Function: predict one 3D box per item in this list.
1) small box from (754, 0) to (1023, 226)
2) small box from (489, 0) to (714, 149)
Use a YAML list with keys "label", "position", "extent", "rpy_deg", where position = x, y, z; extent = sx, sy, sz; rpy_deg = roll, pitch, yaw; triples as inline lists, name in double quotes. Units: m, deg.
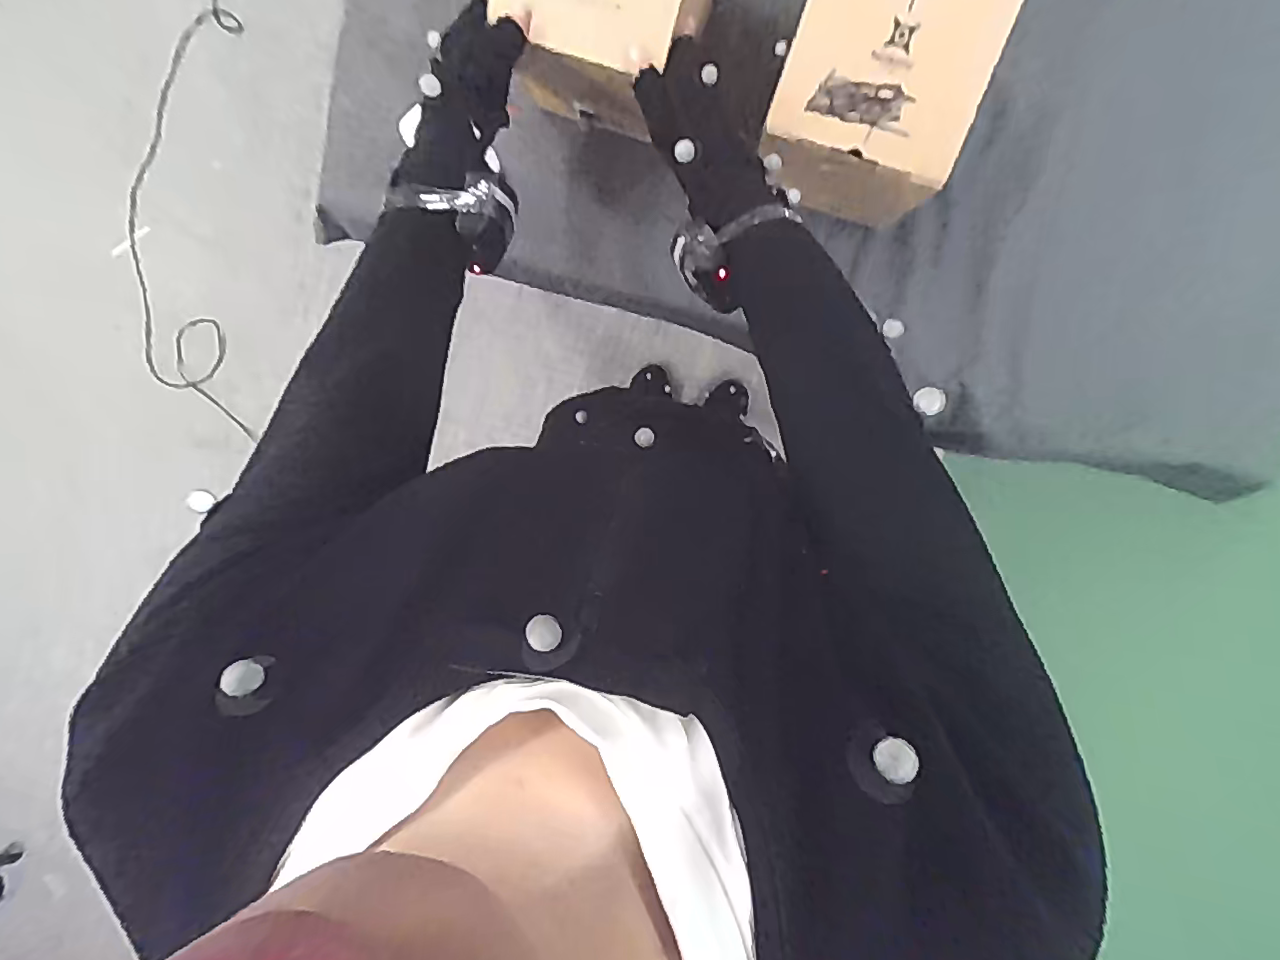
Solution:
- label: "small box"
  position: [0.219, -0.372, 0.525]
  extent: [0.168, 0.176, 0.179]
  rpy_deg: [20, 103, 1]
- label: "small box"
  position: [-0.024, -0.467, 0.532]
  extent: [0.168, 0.176, 0.179]
  rpy_deg: [18, 105, 3]
